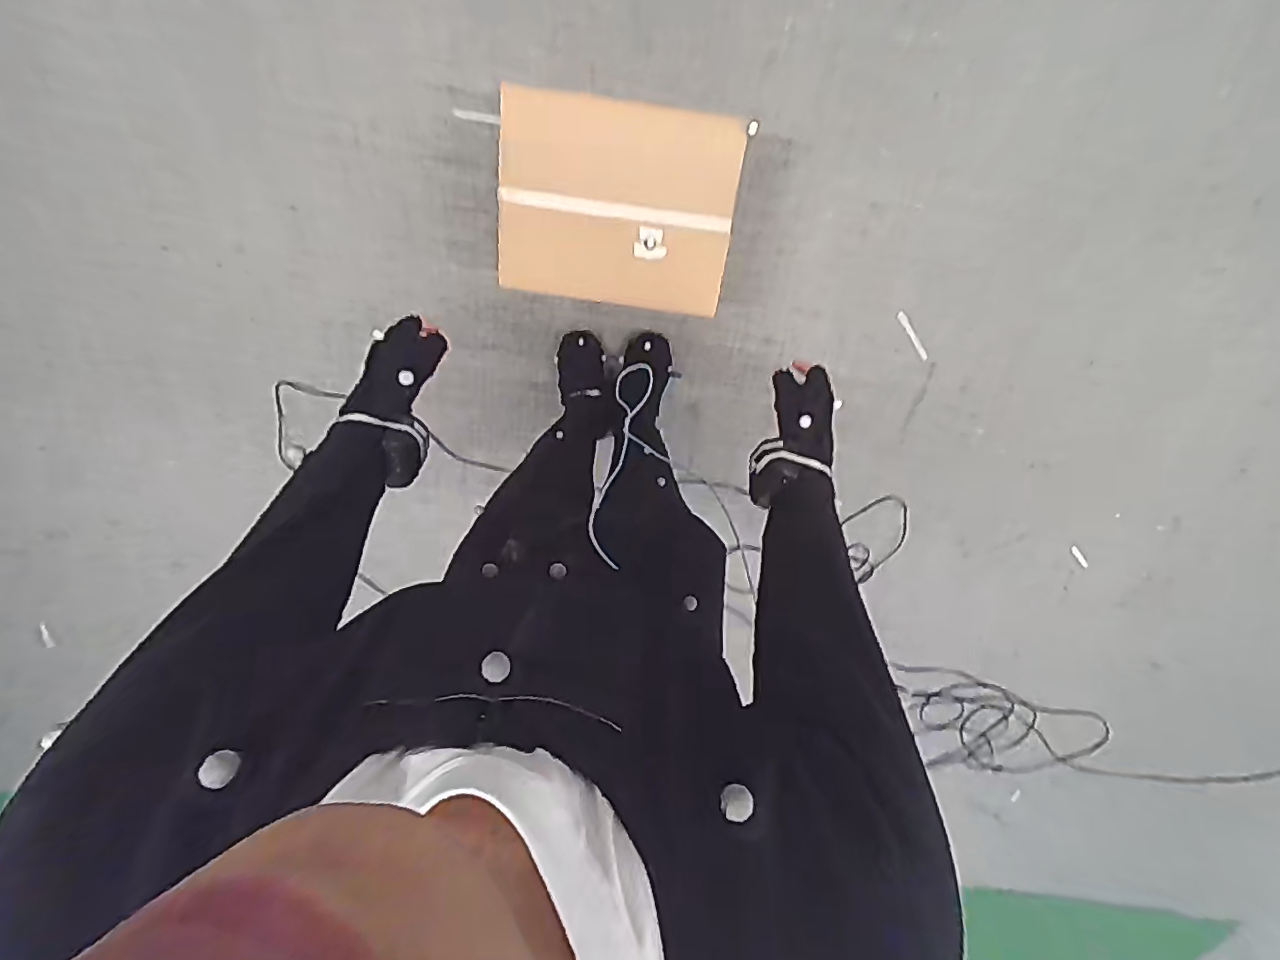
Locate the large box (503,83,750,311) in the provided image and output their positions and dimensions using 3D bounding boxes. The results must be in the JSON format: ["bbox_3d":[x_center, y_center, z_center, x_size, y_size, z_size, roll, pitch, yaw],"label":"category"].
[{"bbox_3d":[-0.035,-0.533,1.063,0.408,0.320,0.320,7,116,-3],"label":"large box"}]
